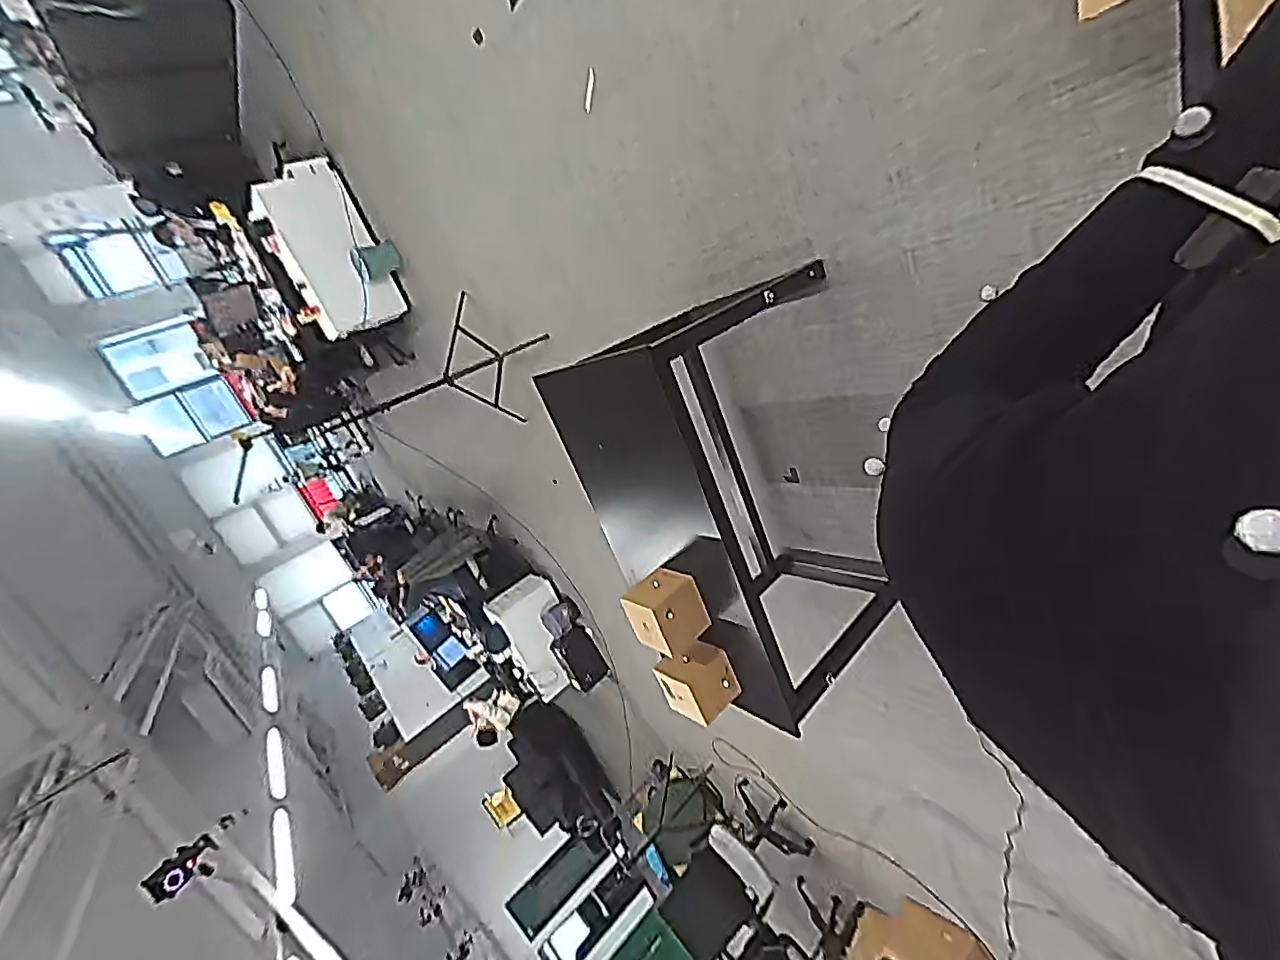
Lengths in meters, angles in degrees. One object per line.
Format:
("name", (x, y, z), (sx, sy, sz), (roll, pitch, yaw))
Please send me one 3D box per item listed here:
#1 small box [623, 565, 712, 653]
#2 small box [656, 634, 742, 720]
("small box", (0.085, 0.377, 1.619), (0.168, 0.176, 0.179), (4, 122, 55))
("small box", (0.186, 0.610, 1.702), (0.179, 0.176, 0.168), (1, 120, 55))
